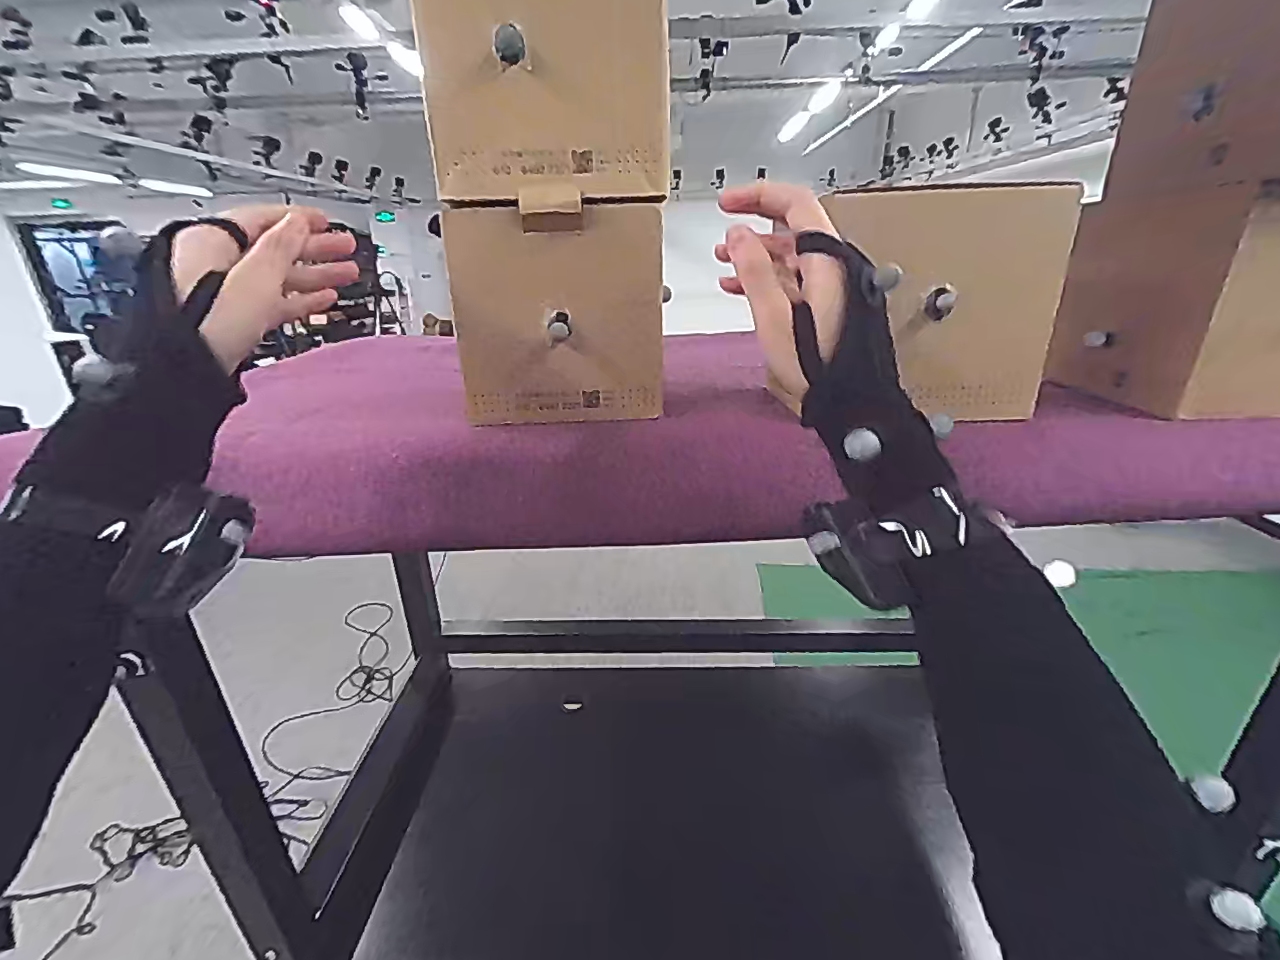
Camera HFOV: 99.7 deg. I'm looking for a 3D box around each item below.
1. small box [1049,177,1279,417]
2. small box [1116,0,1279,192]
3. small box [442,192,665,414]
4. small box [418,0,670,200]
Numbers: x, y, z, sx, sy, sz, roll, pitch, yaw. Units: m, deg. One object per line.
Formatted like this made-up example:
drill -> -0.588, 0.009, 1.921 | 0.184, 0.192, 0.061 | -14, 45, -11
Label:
small box -> 0.496, -0.154, 0.454 | 0.179, 0.176, 0.168 | -2, 22, 3
small box -> 0.493, -0.298, 0.372 | 0.179, 0.176, 0.168 | -1, 22, 2
small box -> -0.064, -0.160, 0.500 | 0.168, 0.176, 0.179 | -2, 22, -2
small box -> -0.067, -0.310, 0.437 | 0.168, 0.176, 0.179 | -3, 20, -4
